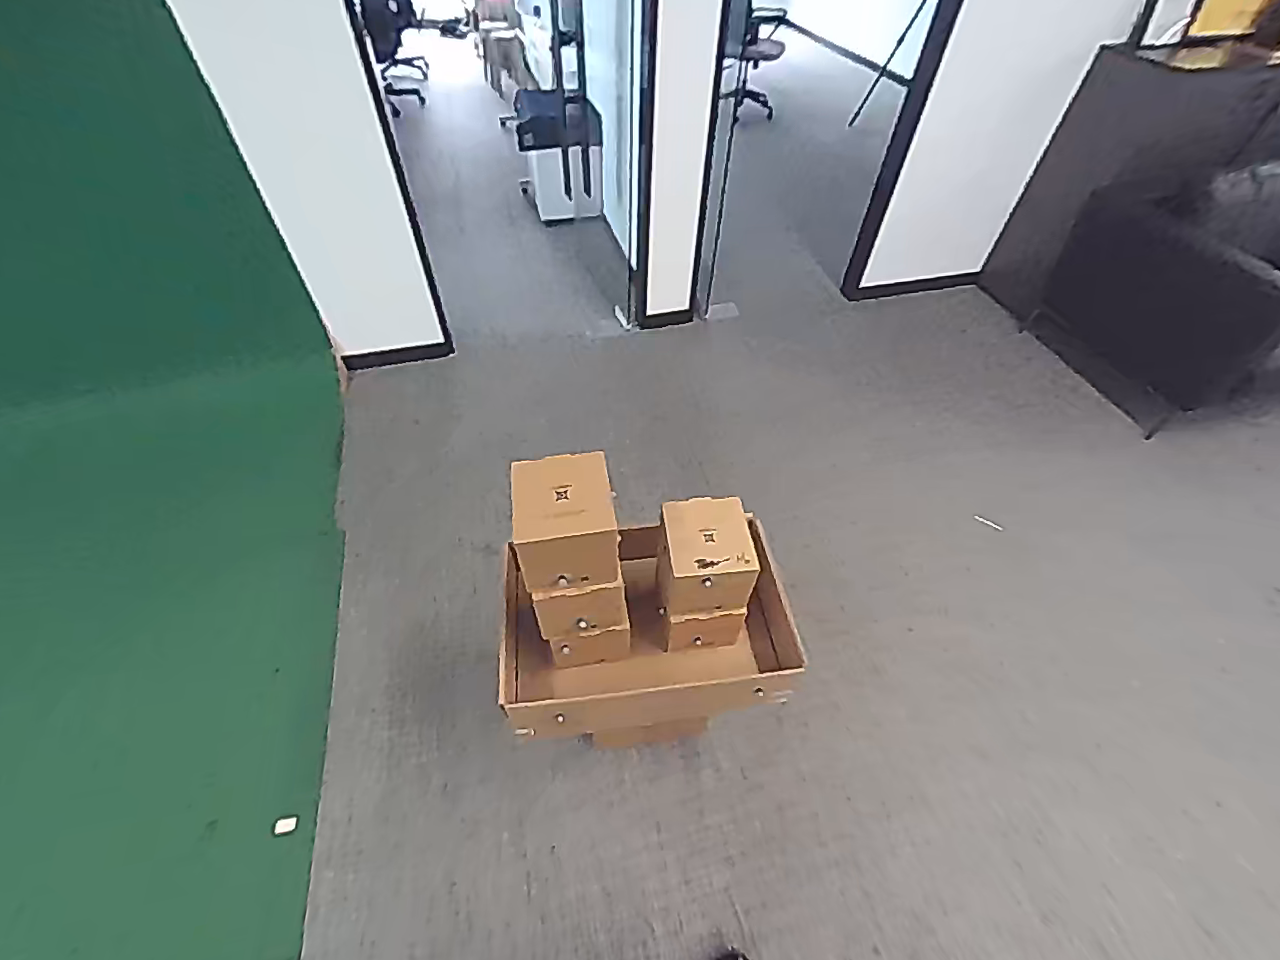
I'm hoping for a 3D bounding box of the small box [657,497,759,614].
[{"bbox_3d":[0.129,0.155,1.109,0.168,0.176,0.179,-3,52,-6],"label":"small box"}]

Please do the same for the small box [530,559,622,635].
[{"bbox_3d":[-0.131,0.182,1.070,0.168,0.176,0.179,-7,52,-8],"label":"small box"}]

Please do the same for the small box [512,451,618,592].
[{"bbox_3d":[-0.131,0.073,0.949,0.168,0.176,0.179,-6,52,-7],"label":"small box"}]
